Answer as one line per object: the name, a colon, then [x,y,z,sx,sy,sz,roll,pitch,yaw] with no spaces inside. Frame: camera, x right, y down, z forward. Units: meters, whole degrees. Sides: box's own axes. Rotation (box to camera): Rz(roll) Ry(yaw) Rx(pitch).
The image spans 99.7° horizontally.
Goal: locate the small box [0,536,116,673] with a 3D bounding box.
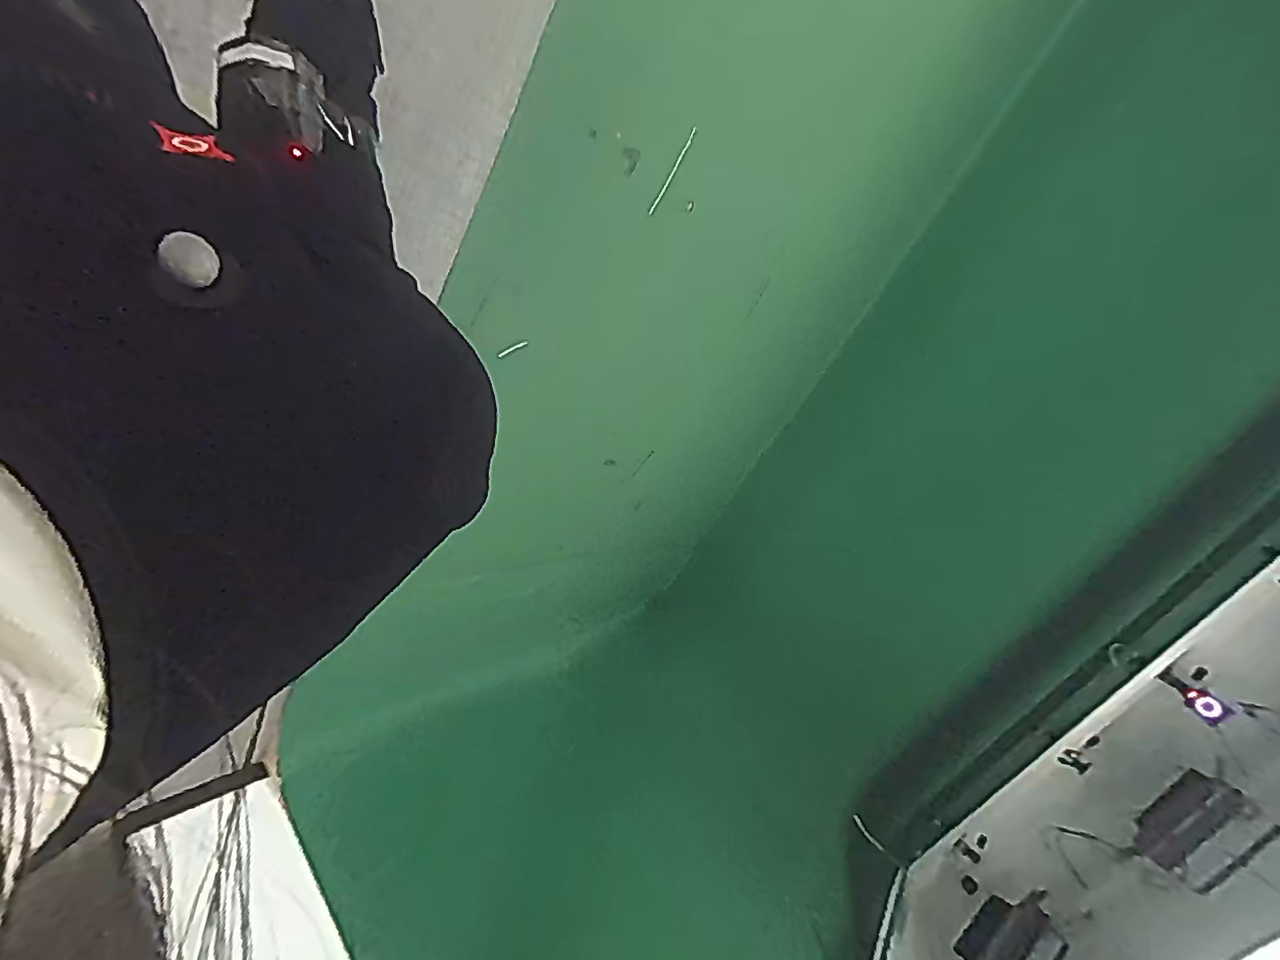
small box: [-1.064,0.209,0.933,0.179,0.176,0.168,8,115,-59]
